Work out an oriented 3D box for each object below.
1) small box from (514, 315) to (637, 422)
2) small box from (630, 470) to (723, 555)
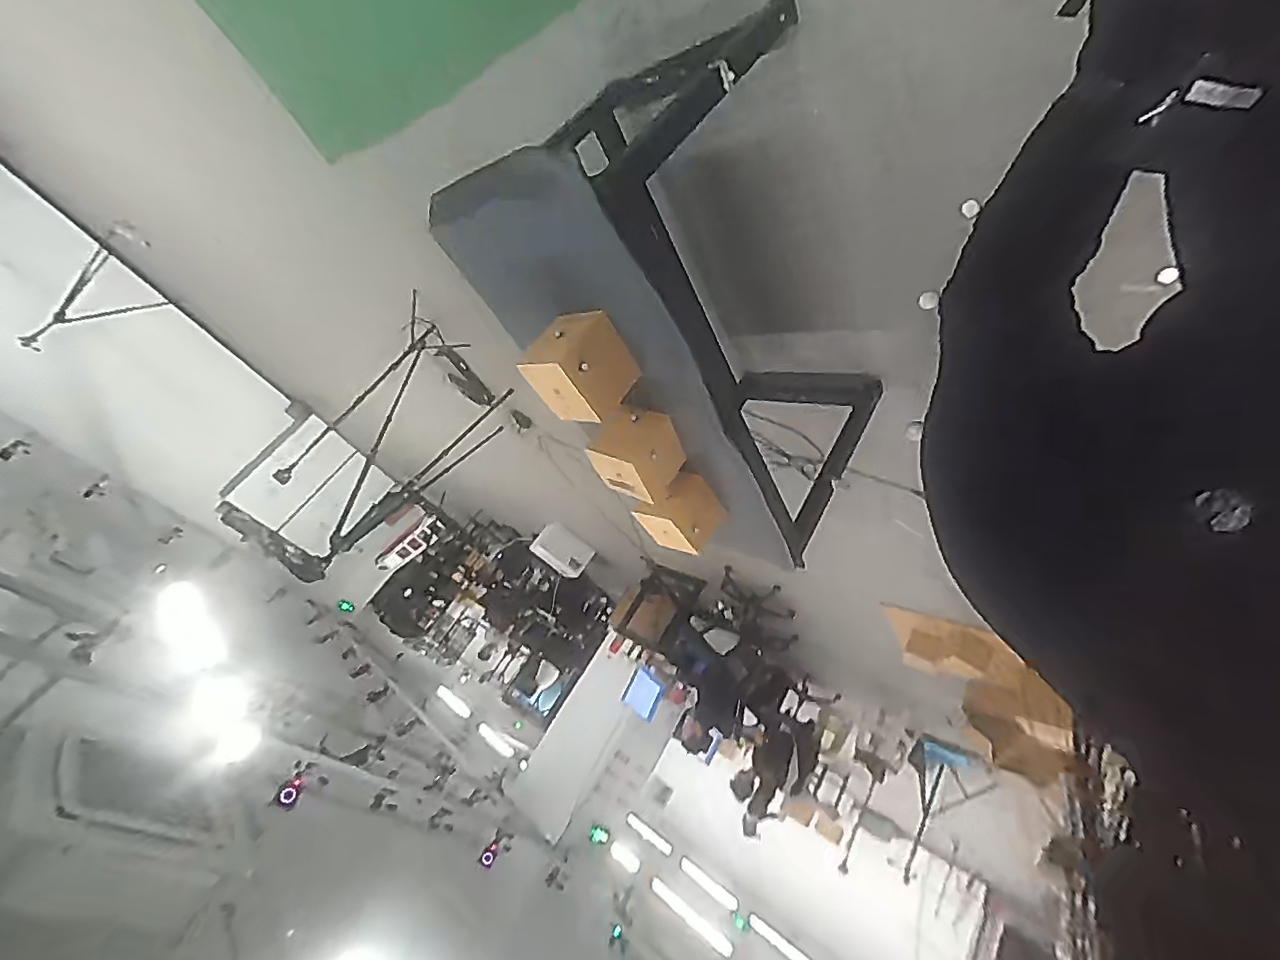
[{"bbox_3d":[-0.139,-0.253,1.209,0.168,0.176,0.179,11,149,45],"label":"small box"},{"bbox_3d":[0.109,0.088,1.567,0.168,0.176,0.179,8,146,47],"label":"small box"}]
